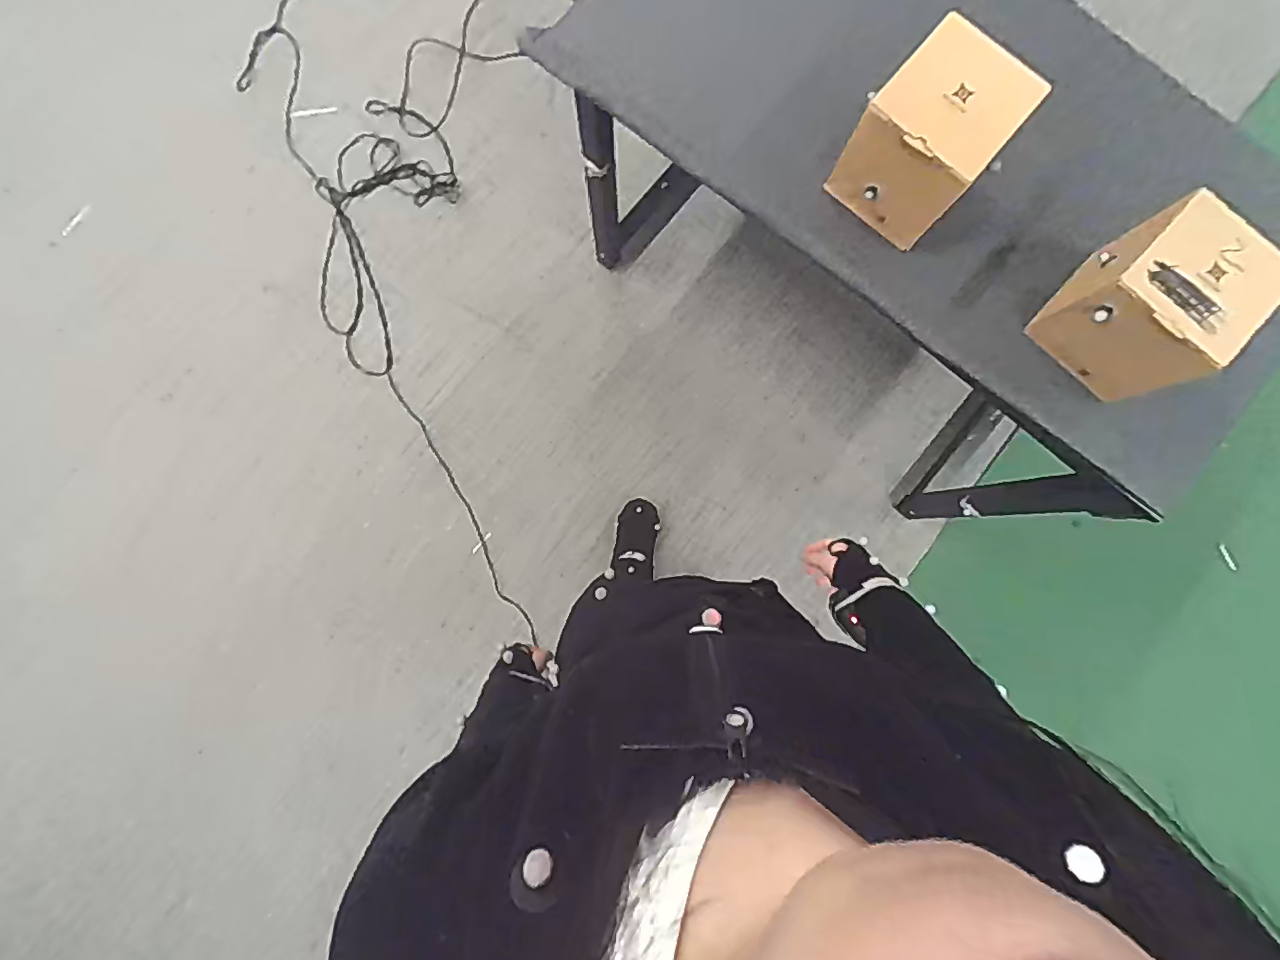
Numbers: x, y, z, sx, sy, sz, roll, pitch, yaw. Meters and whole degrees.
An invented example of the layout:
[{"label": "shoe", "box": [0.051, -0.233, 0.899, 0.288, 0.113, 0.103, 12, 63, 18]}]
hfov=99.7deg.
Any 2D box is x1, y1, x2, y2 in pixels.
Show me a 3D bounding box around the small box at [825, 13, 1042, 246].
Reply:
[{"label": "small box", "box": [0.397, -0.479, 0.766, 0.168, 0.176, 0.179, 40, 85, 1]}]
